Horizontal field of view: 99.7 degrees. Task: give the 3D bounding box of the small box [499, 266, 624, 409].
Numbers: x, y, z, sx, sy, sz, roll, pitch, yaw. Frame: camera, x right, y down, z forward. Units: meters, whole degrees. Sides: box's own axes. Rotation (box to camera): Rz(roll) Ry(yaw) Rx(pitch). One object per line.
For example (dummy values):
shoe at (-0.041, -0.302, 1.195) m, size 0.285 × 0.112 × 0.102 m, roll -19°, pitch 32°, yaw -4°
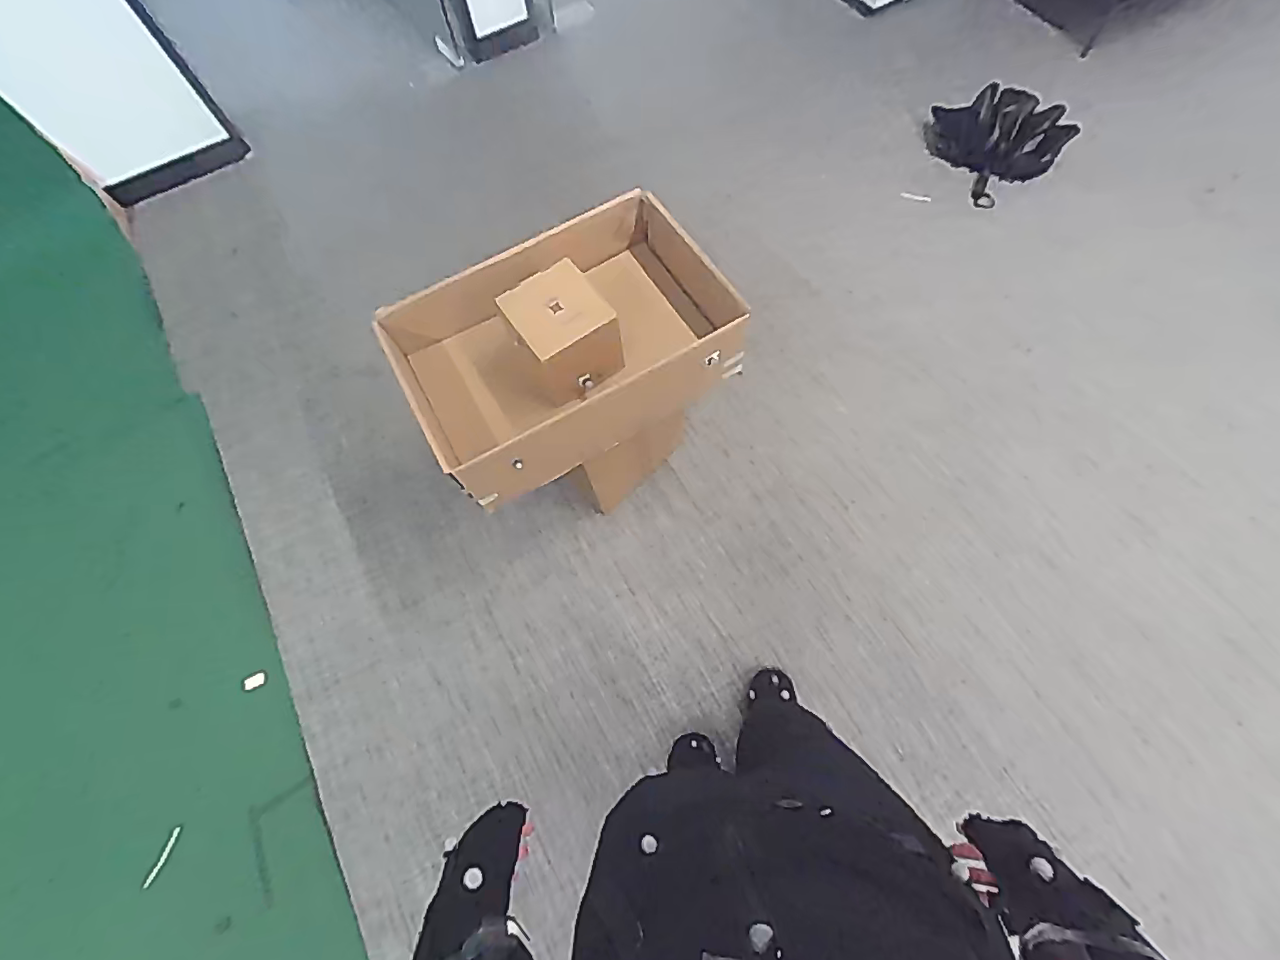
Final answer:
small box at (-0.147, -0.273, 1.061) m, size 0.168 × 0.176 × 0.179 m, roll -34°, pitch 70°, yaw -10°
